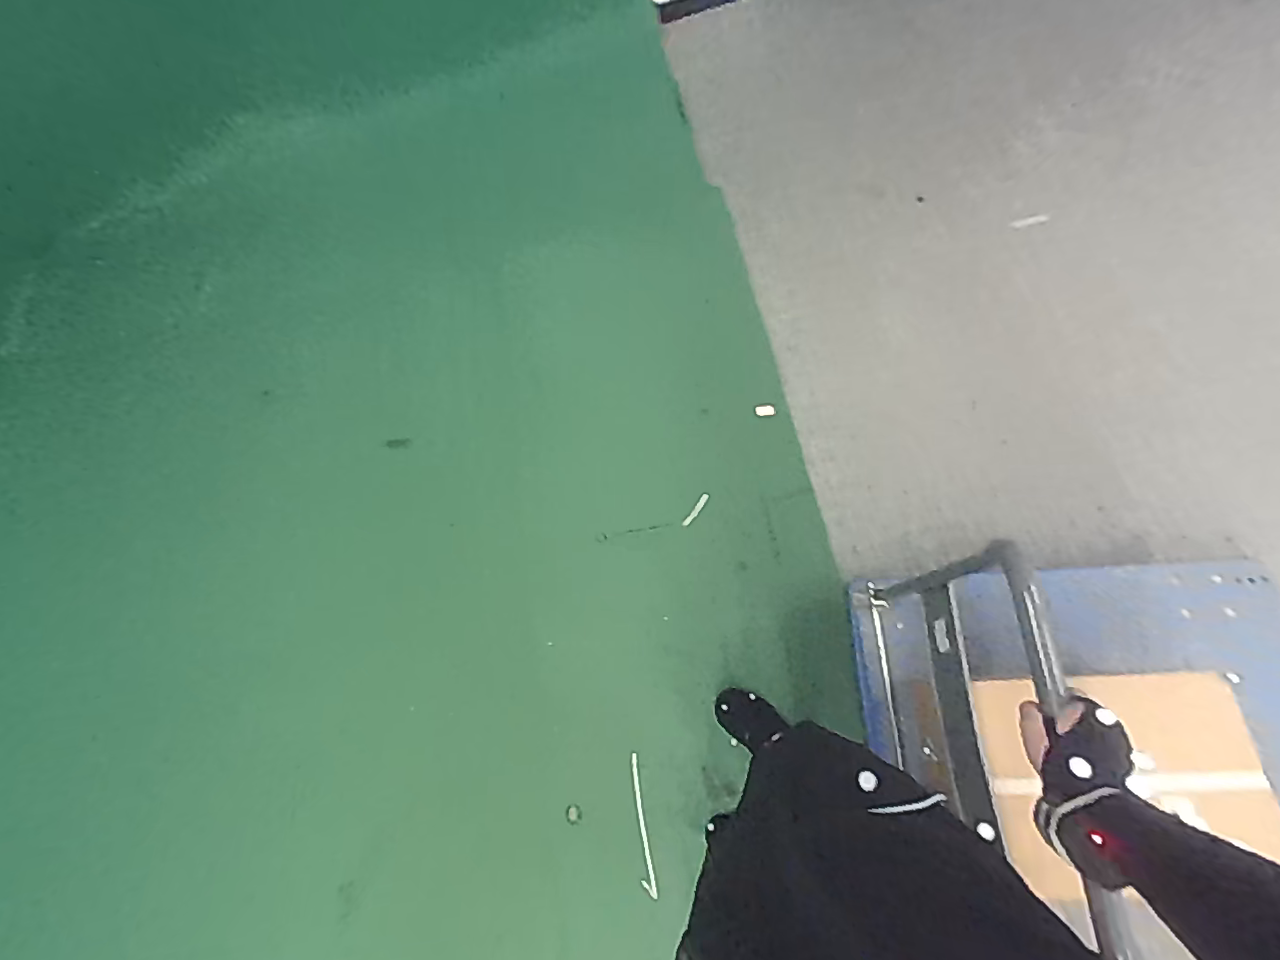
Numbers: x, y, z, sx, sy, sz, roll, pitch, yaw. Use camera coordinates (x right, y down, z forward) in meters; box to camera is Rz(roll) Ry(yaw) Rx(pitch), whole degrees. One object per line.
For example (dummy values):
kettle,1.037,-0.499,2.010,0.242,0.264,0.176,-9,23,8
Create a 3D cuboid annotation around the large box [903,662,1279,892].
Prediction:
large box,0.766,0.511,0.993,0.408,0.320,0.320,-6,71,7
